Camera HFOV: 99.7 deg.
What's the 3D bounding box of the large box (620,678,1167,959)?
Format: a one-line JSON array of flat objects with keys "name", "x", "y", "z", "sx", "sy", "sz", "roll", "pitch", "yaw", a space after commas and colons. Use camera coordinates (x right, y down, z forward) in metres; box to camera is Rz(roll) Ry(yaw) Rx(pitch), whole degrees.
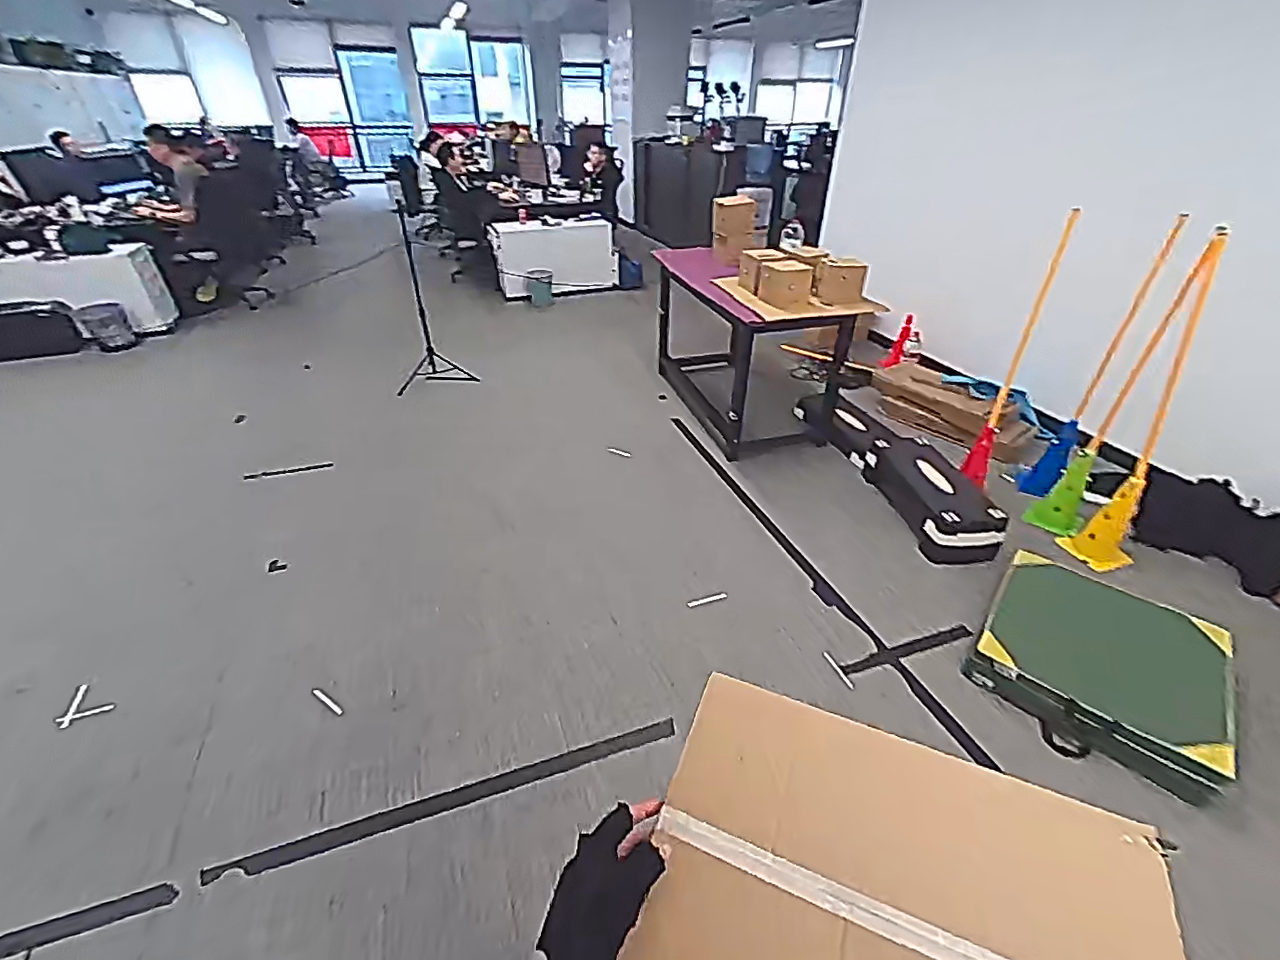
[{"name": "large box", "x": 0.216, "y": 0.472, "z": 0.555, "sx": 0.408, "sy": 0.320, "sz": 0.320, "roll": 14, "pitch": 46, "yaw": 19}]
